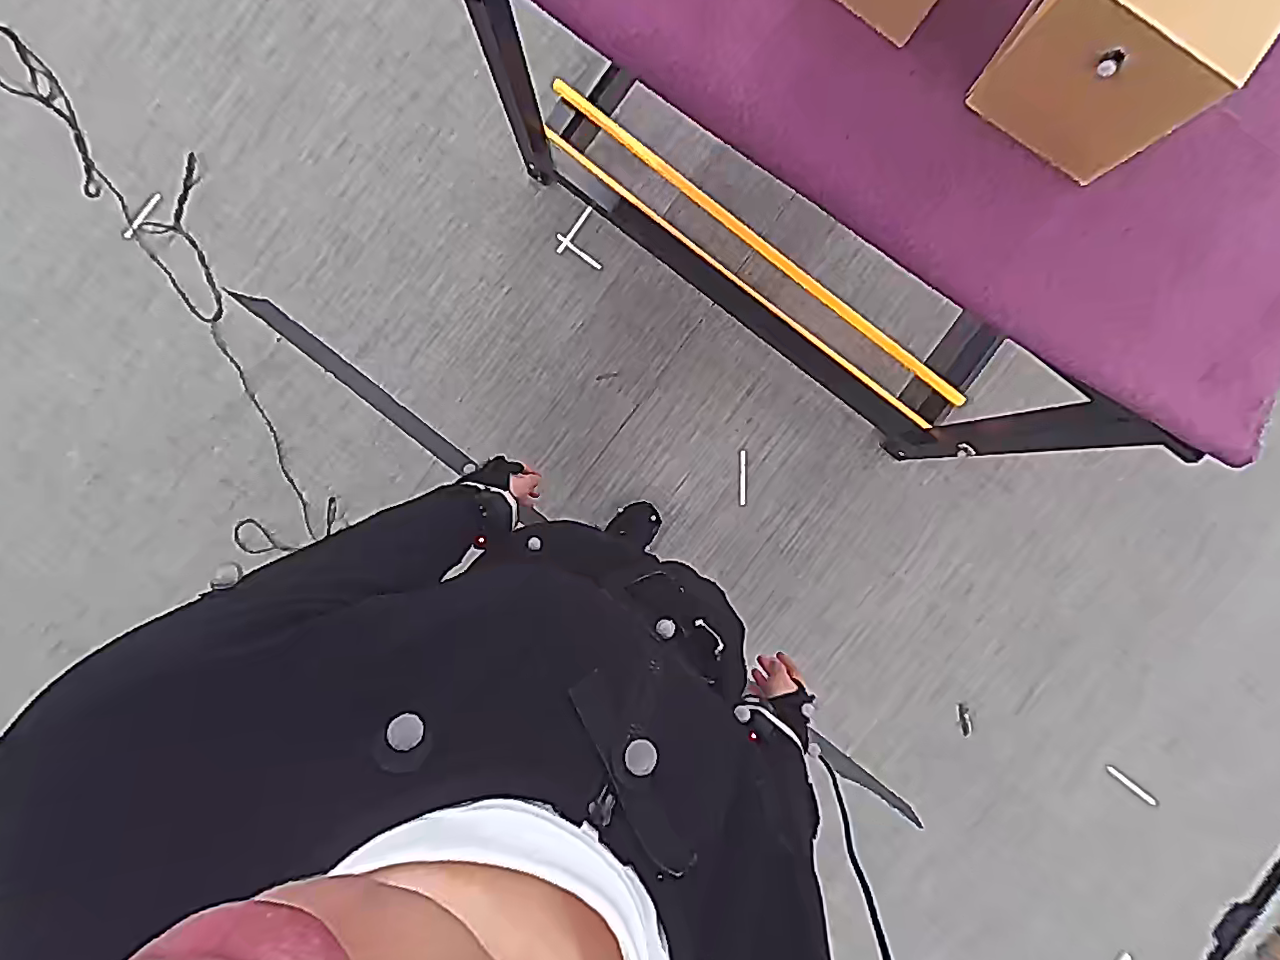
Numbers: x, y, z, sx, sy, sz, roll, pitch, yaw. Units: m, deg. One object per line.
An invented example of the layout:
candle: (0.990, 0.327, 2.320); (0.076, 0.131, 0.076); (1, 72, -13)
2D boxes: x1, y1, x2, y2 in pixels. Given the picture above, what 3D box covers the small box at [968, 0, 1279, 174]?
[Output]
small box: (0.496, -0.457, 0.557); (0.179, 0.176, 0.168); (35, 90, 0)
